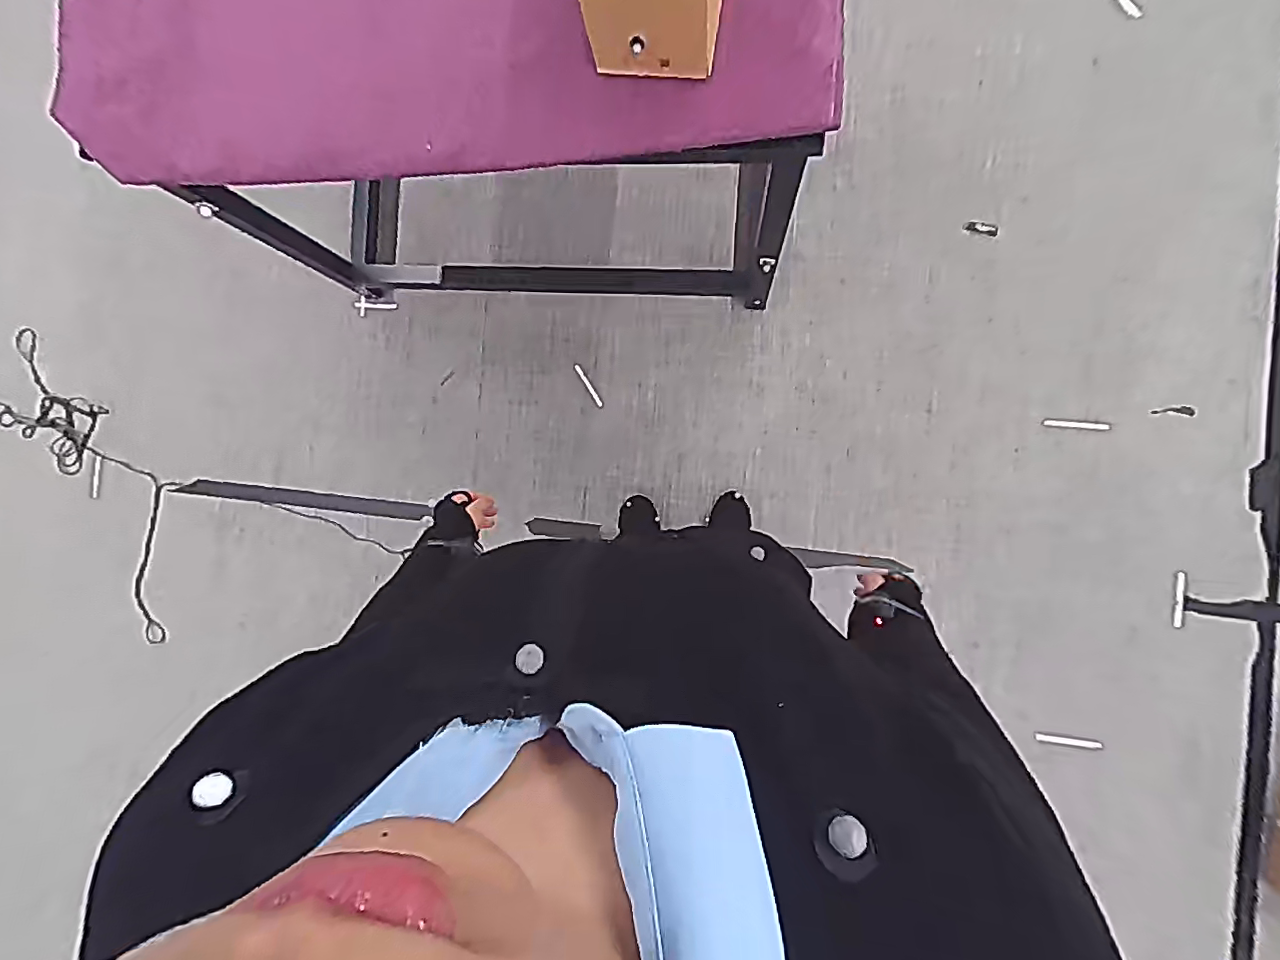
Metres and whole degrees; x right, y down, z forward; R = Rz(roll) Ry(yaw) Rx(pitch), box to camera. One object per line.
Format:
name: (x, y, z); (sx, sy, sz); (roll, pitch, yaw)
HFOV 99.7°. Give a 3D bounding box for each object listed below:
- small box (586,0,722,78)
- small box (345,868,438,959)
small box: (0.021, -0.671, 0.696); (0.168, 0.176, 0.179); (9, 89, 8)
small box: (-0.663, 1.194, 1.459); (0.168, 0.176, 0.179); (3, 90, 7)
